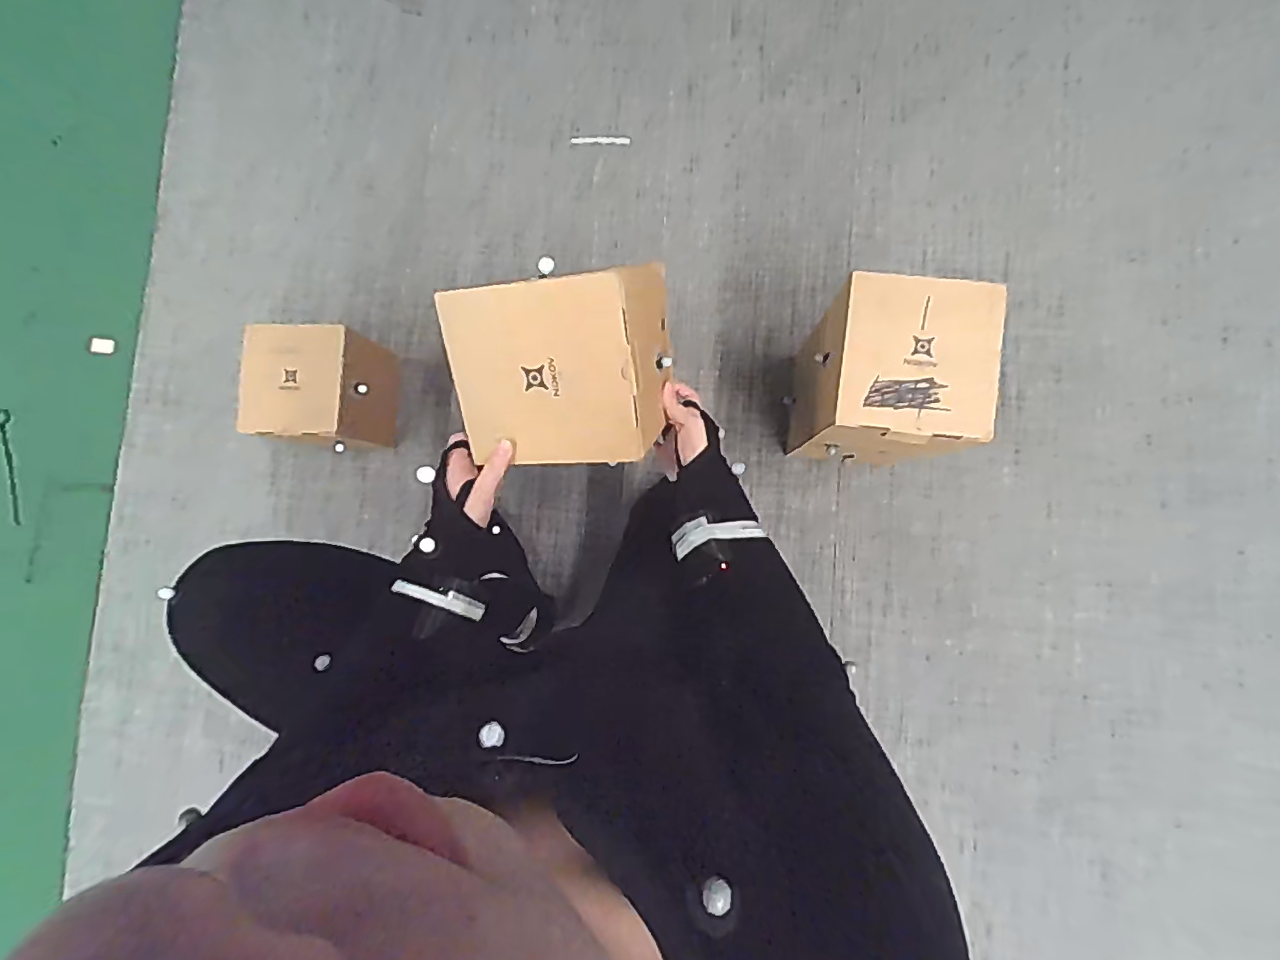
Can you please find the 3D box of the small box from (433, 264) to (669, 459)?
[{"bbox_3d":[-0.074,-0.126,0.554,0.179,0.176,0.168,-1,112,14],"label":"small box"}]

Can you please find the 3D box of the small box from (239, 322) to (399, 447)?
[{"bbox_3d":[-0.531,-0.152,0.916,0.168,0.176,0.179,2,86,5],"label":"small box"}]

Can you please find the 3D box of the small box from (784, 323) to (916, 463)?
[{"bbox_3d":[0.322,-0.123,0.832,0.168,0.176,0.179,6,87,5],"label":"small box"}]

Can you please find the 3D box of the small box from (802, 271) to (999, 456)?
[{"bbox_3d":[0.305,-0.131,0.668,0.168,0.176,0.179,8,86,6],"label":"small box"}]
